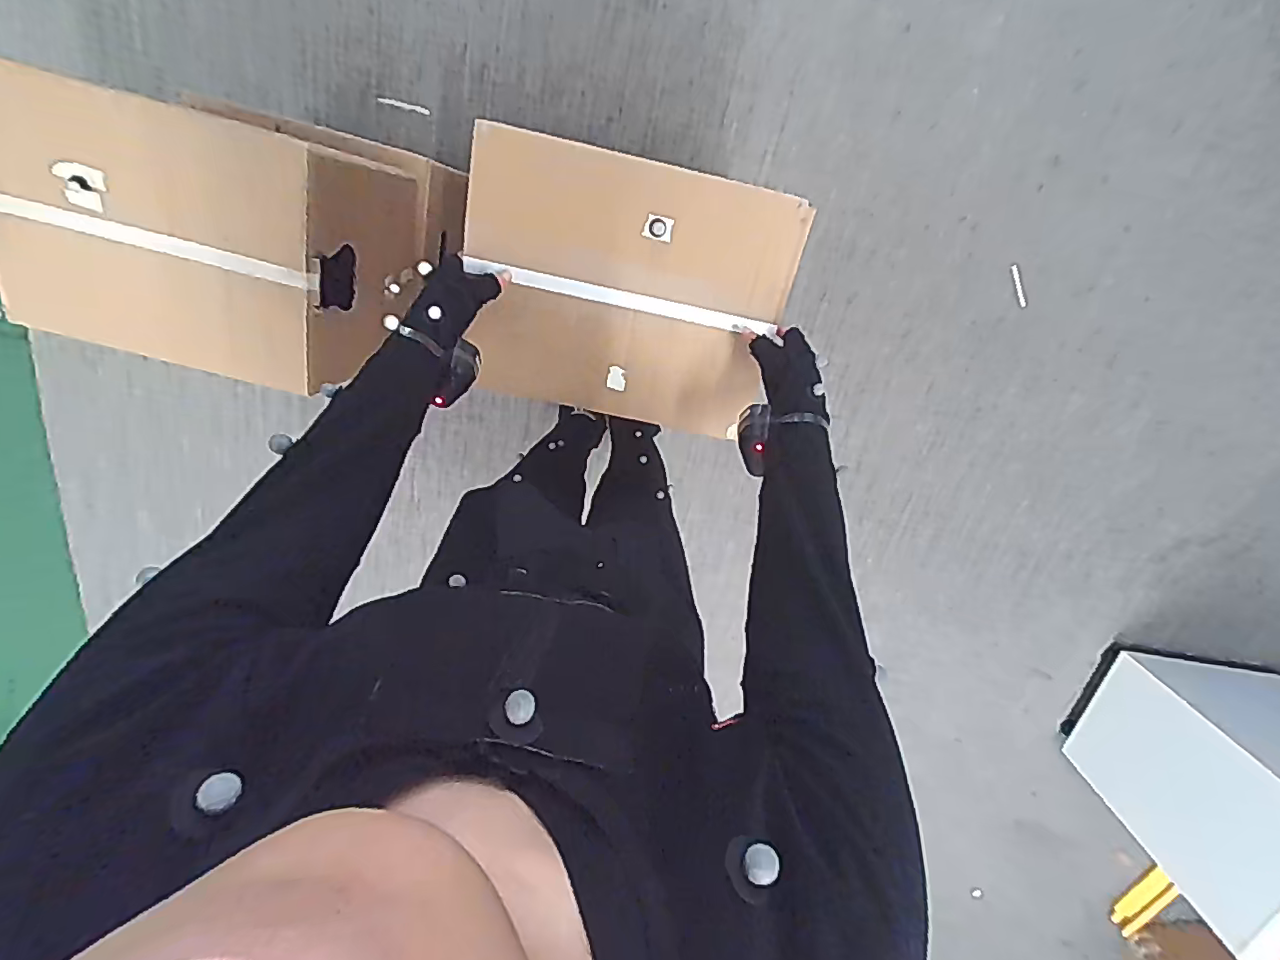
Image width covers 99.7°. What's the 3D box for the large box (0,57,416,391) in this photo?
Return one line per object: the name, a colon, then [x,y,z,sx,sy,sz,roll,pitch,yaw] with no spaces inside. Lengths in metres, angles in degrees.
large box: [-0.599,-0.362,0.810,0.408,0.320,0.320,15,113,-3]
